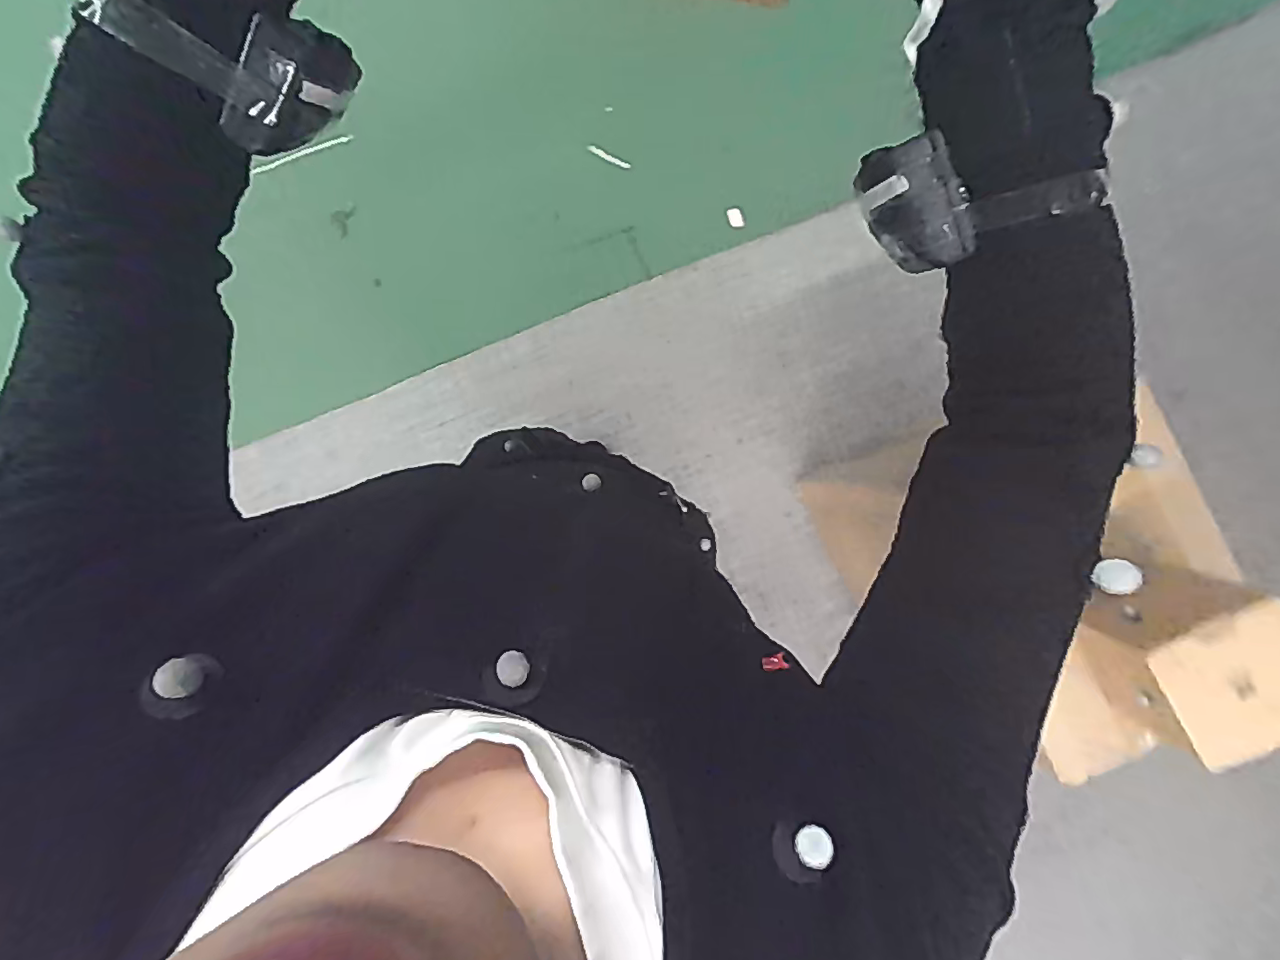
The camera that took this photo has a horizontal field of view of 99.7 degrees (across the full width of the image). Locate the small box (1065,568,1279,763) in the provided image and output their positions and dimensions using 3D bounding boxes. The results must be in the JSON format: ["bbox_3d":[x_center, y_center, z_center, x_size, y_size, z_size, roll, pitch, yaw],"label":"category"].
[{"bbox_3d":[0.750,0.239,0.750,0.168,0.176,0.179,-30,93,10],"label":"small box"}]
